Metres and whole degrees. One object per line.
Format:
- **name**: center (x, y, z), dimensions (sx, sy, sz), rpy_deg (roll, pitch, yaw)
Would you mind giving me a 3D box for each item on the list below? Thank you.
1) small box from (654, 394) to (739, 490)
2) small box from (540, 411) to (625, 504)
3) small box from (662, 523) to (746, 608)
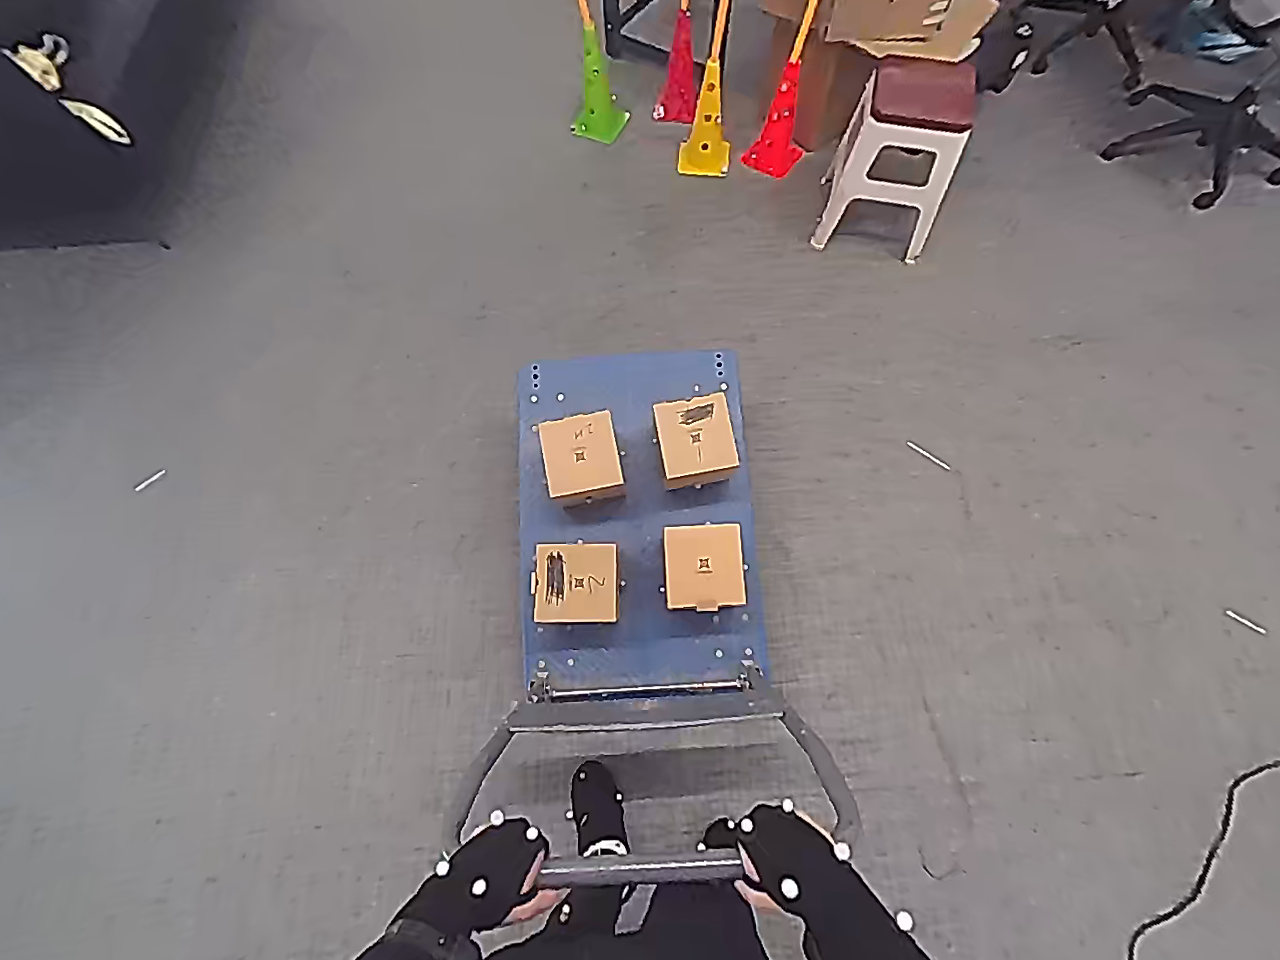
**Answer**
- **small box**: center (0.126, -0.085, 1.279), dimensions (0.168, 0.176, 0.179), rpy_deg (-10, 80, 0)
- **small box**: center (-0.130, -0.044, 1.275), dimensions (0.168, 0.176, 0.179), rpy_deg (-11, 80, -2)
- **small box**: center (0.138, 0.197, 1.229), dimensions (0.168, 0.176, 0.179), rpy_deg (-3, 80, 0)
